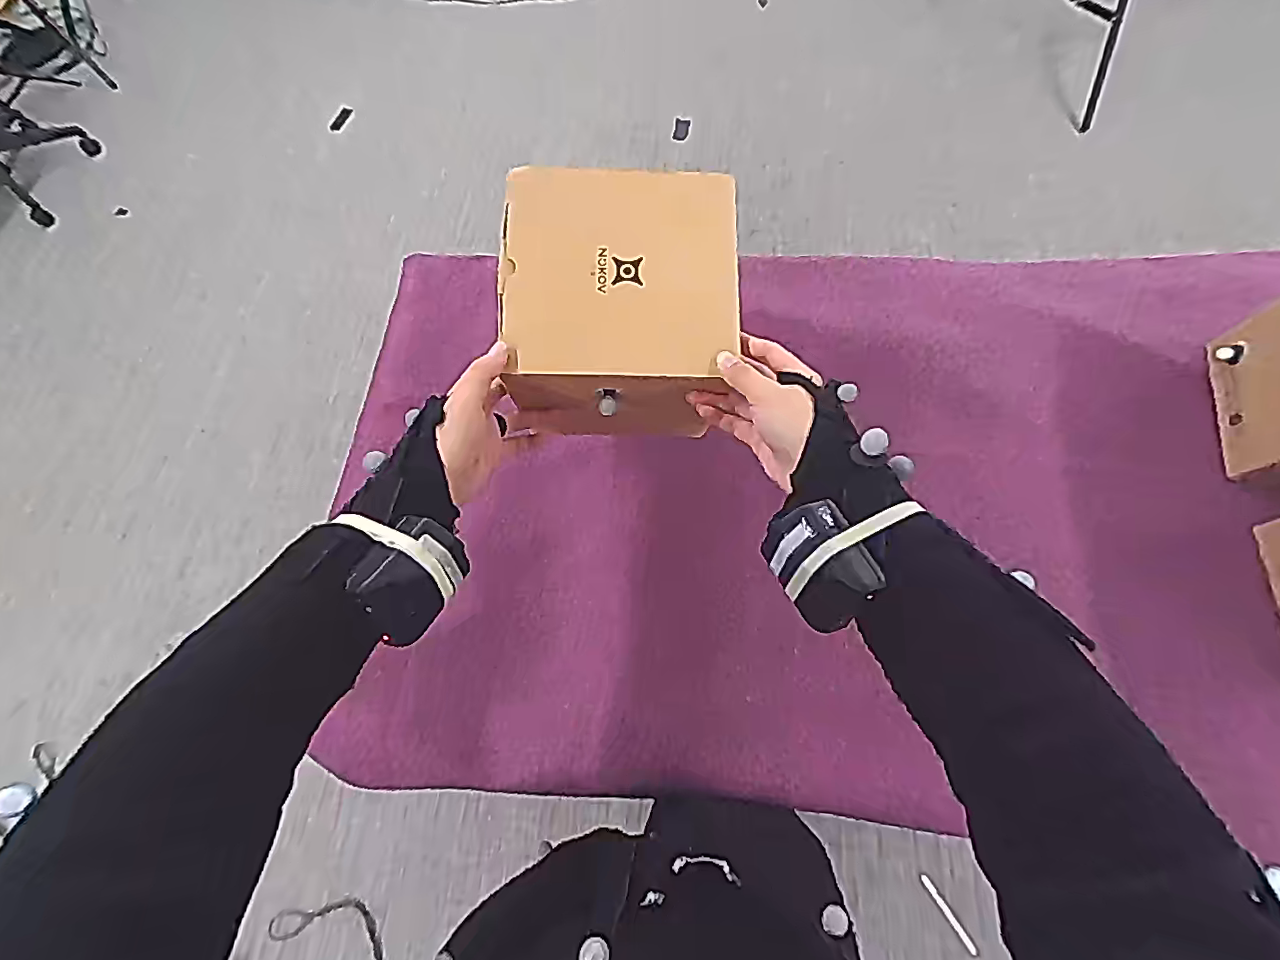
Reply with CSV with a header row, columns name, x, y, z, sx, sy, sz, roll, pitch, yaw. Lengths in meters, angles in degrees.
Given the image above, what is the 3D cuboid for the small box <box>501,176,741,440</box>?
name,x,y,z,sx,sy,sz,roll,pitch,yaw
small box,-0.016,-0.135,0.481,0.179,0.176,0.168,1,80,-2

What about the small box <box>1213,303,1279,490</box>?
name,x,y,z,sx,sy,sz,roll,pitch,yaw
small box,0.691,-0.086,0.497,0.179,0.176,0.168,9,71,8
